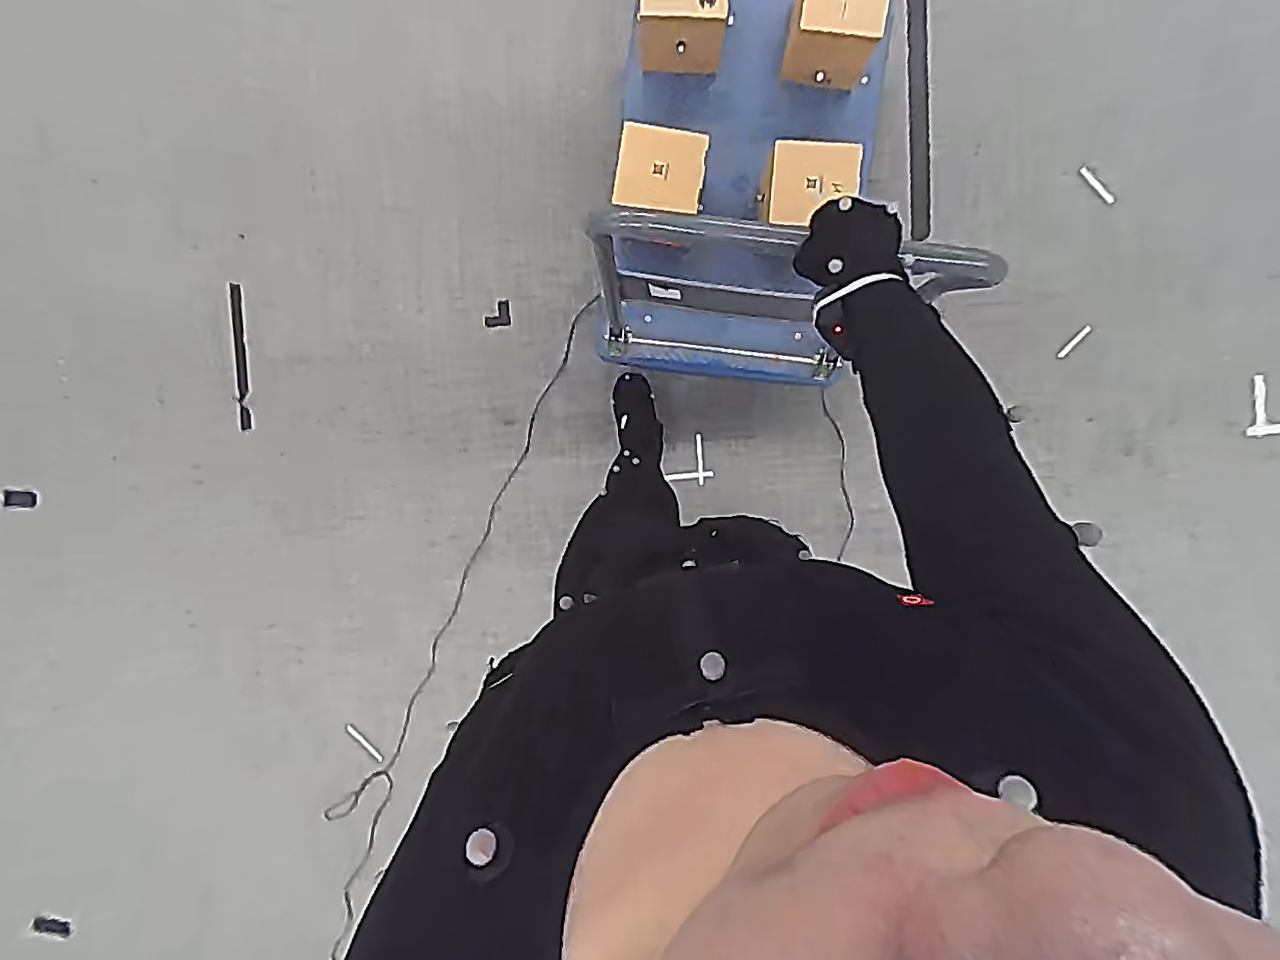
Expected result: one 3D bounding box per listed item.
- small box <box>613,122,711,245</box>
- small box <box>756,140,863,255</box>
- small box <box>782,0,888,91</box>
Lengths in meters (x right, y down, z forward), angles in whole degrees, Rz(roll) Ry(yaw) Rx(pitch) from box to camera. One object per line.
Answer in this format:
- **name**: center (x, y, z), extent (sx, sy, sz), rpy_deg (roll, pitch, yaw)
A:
- **small box**: center (0.043, -0.626, 1.163), extent (0.179, 0.176, 0.168), rpy_deg (9, 94, -1)
- **small box**: center (0.351, -0.594, 1.156), extent (0.179, 0.176, 0.168), rpy_deg (5, 94, 1)
- **small box**: center (0.406, -0.963, 1.129), extent (0.168, 0.176, 0.179), rpy_deg (7, 95, 1)
